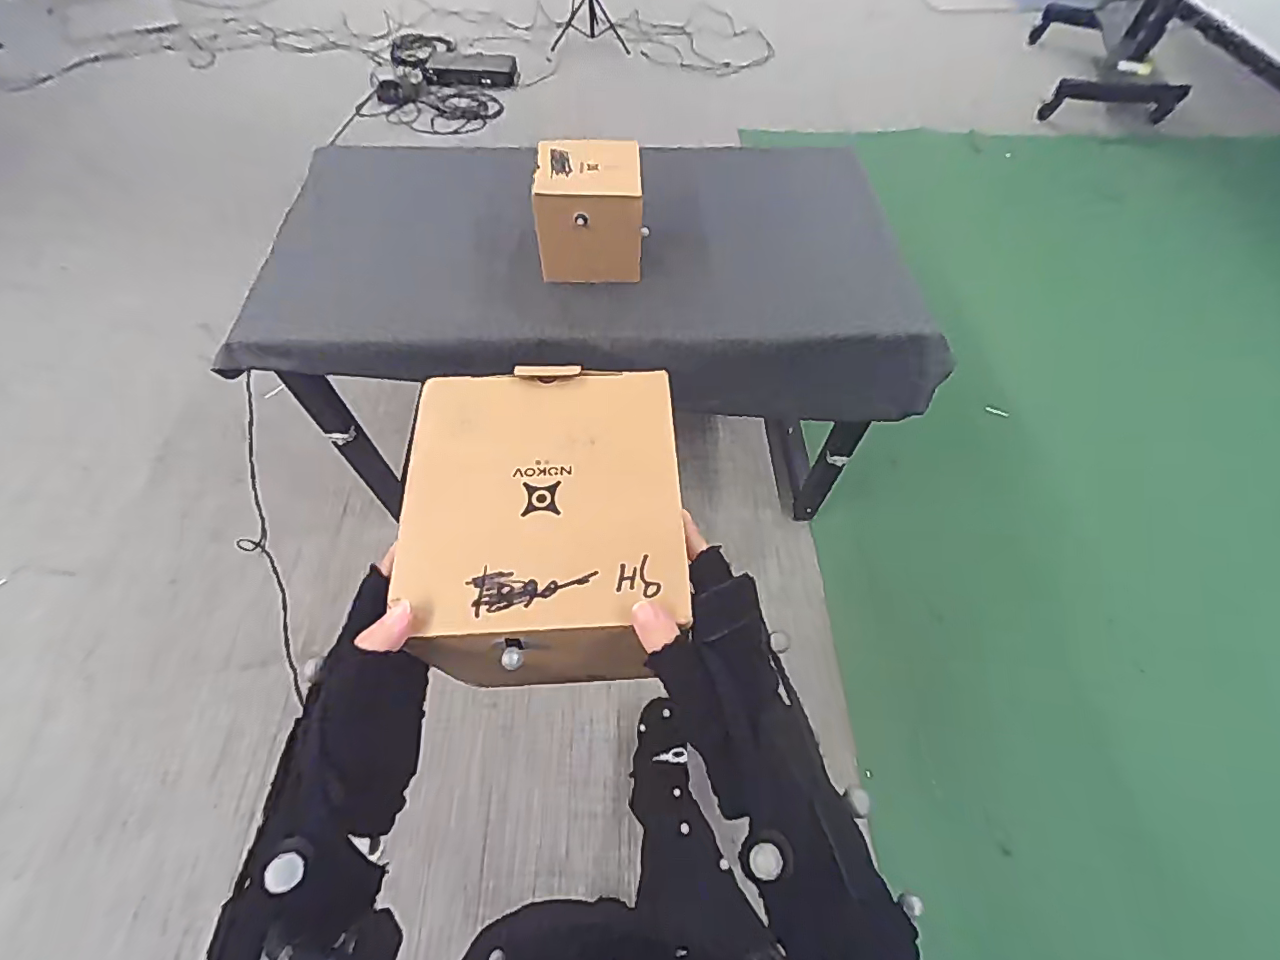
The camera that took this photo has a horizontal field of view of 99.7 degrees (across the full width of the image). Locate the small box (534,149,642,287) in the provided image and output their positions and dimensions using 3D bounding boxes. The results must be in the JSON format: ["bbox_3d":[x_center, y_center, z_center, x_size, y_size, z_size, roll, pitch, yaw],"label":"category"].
[{"bbox_3d":[-0.086,-0.467,0.974,0.179,0.176,0.168,0,58,-2],"label":"small box"}]

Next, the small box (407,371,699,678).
[{"bbox_3d":[-0.057,0.040,0.412,0.168,0.176,0.179,-4,61,-4],"label":"small box"}]
